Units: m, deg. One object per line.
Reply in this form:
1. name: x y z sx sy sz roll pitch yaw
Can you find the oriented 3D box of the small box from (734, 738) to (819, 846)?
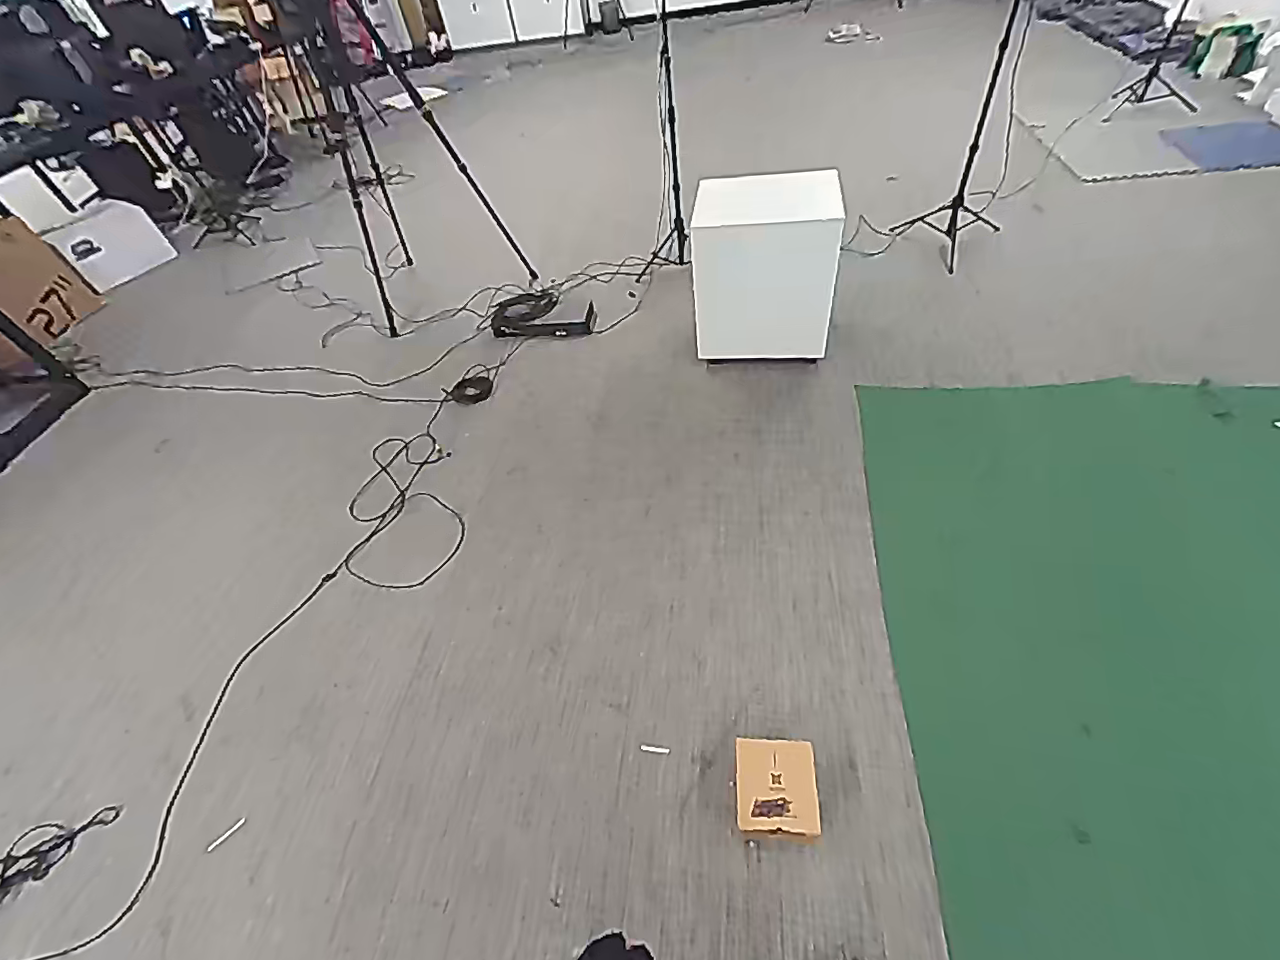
1. small box: 0.293 0.688 1.188 0.168 0.176 0.179 0 49 9
